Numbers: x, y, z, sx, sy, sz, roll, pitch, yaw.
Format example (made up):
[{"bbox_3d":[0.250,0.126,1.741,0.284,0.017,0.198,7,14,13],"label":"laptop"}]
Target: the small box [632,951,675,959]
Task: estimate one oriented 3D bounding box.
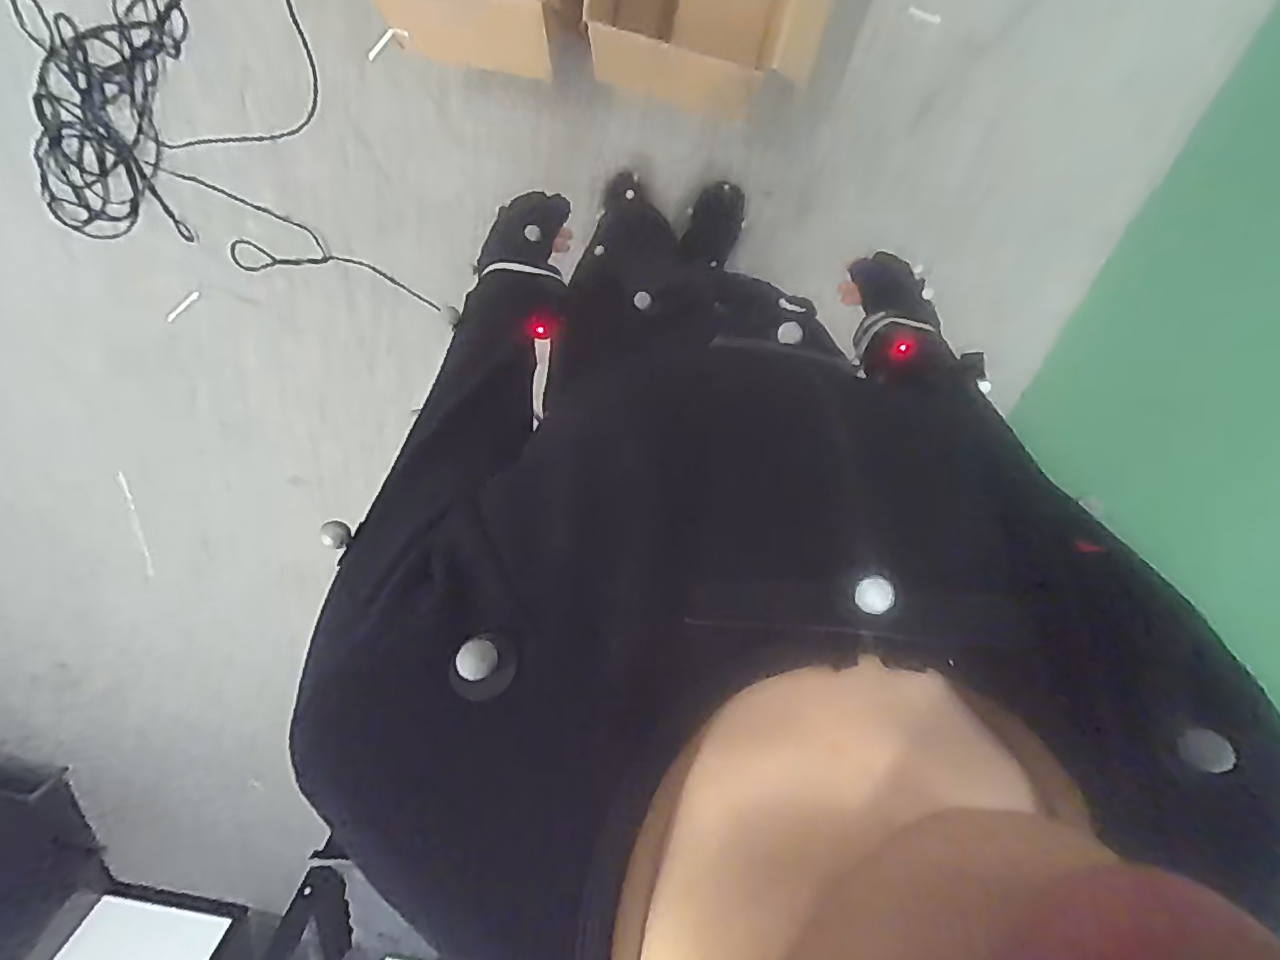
[{"bbox_3d":[0.042,1.467,1.518,0.168,0.176,0.179,16,120,-3],"label":"small box"}]
